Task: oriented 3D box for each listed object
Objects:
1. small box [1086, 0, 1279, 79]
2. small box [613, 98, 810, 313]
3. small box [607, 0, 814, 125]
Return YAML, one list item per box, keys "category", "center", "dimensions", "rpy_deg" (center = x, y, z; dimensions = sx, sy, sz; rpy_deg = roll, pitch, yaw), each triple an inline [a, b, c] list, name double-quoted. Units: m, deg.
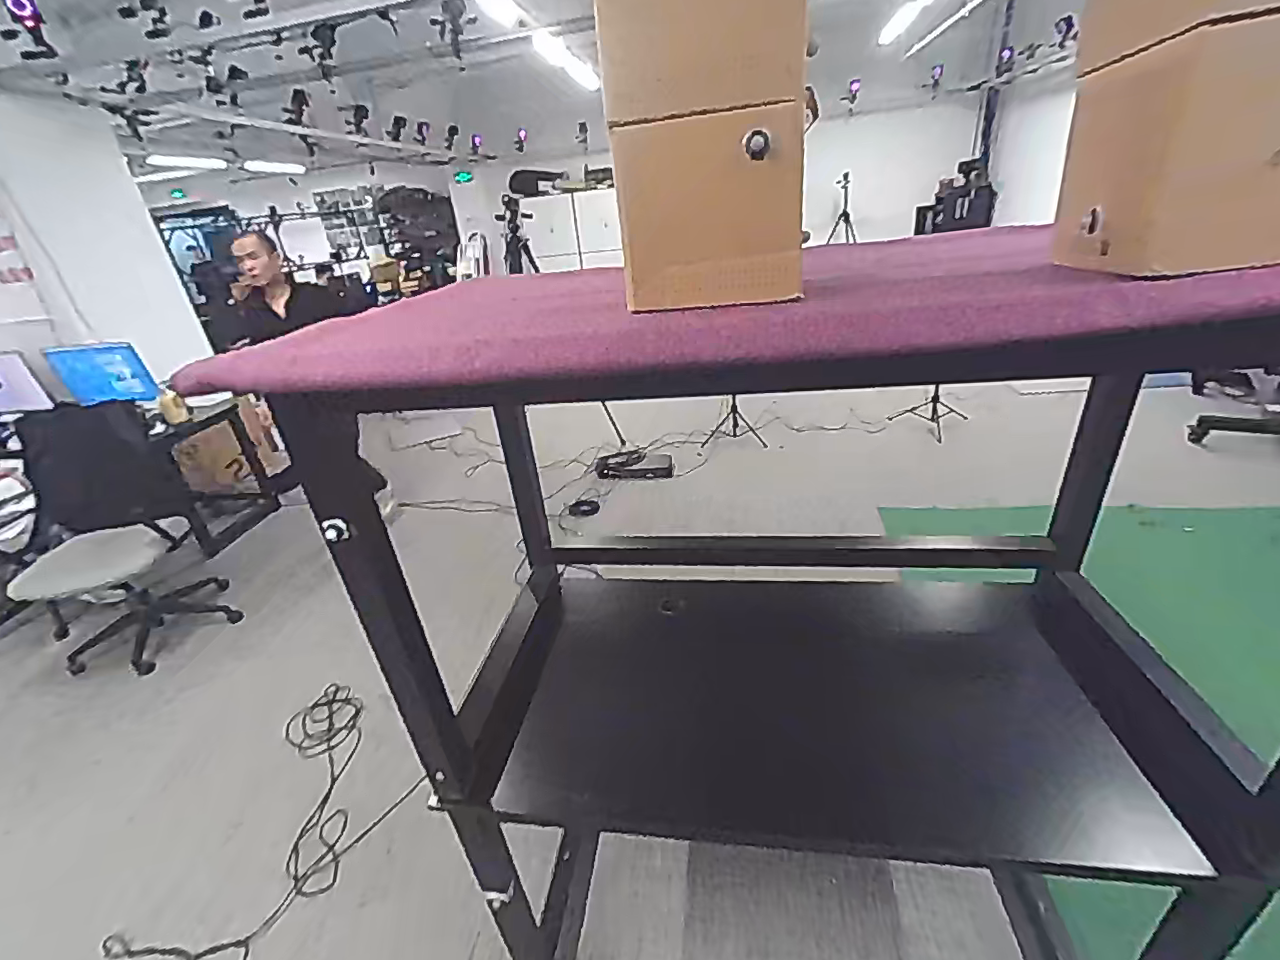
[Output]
- category: "small box"
  center: [0.469, -0.418, 0.386]
  dimensions: [0.168, 0.176, 0.179]
  rpy_deg: [-2, 25, 13]
- category: "small box"
  center: [0.082, -0.276, 0.571]
  dimensions: [0.179, 0.176, 0.168]
  rpy_deg: [0, 26, 12]
- category: "small box"
  center: [0.067, -0.426, 0.505]
  dimensions: [0.179, 0.176, 0.168]
  rpy_deg: [1, 26, 11]
